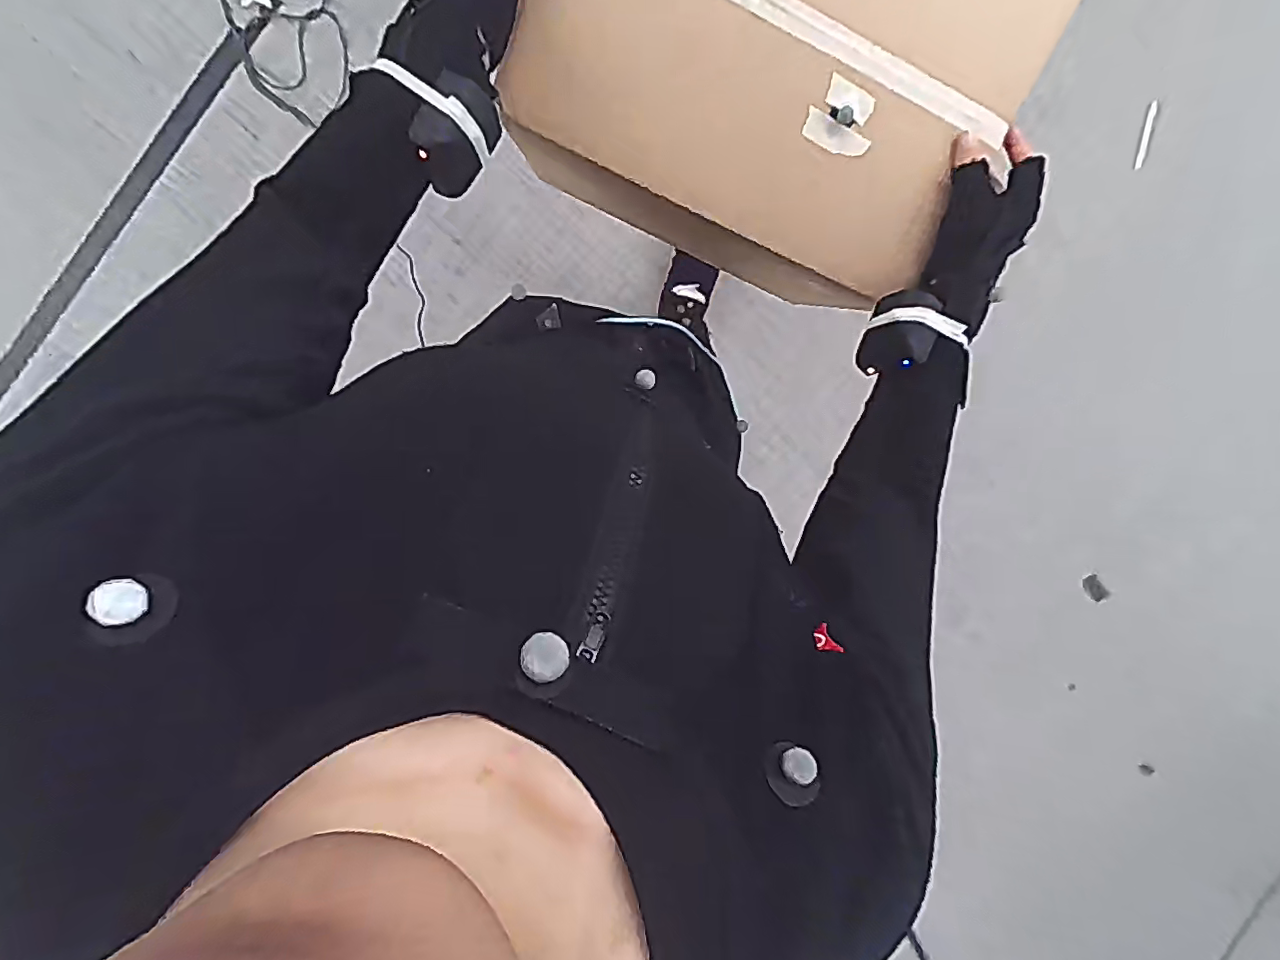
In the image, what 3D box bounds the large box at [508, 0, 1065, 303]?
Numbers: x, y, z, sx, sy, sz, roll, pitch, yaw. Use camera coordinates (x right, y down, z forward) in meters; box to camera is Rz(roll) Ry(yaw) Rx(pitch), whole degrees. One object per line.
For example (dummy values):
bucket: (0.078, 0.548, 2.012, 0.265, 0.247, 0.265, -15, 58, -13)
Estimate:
large box: (0.116, -0.421, 0.583, 0.408, 0.320, 0.320, 21, 109, -11)
